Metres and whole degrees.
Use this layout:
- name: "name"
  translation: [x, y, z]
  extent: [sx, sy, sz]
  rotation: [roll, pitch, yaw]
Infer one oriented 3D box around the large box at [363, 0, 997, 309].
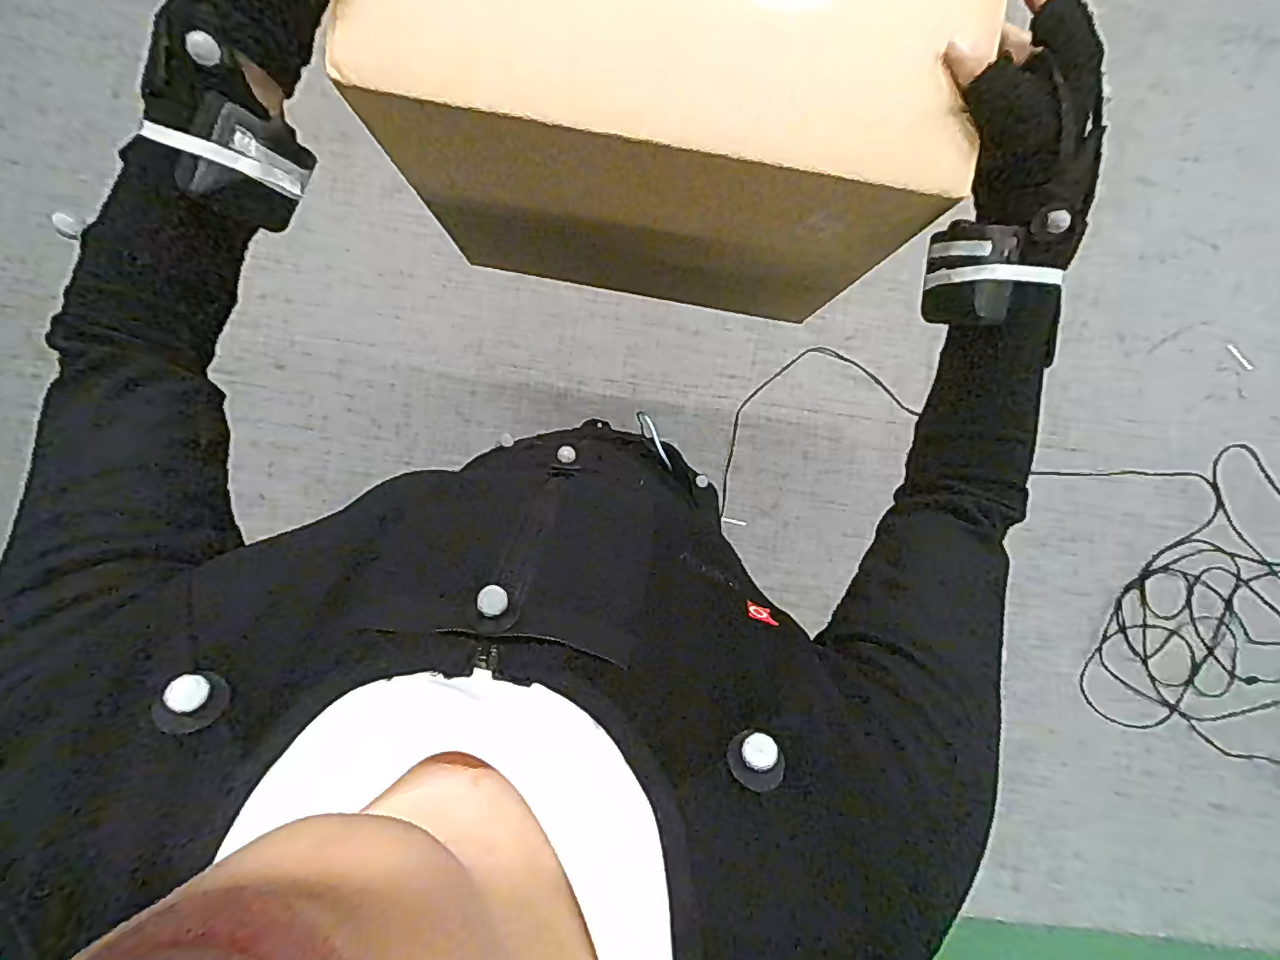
- name: "large box"
  translation: [0.033, -0.376, 0.491]
  extent: [0.408, 0.320, 0.320]
  rotation: [9, 92, -4]
